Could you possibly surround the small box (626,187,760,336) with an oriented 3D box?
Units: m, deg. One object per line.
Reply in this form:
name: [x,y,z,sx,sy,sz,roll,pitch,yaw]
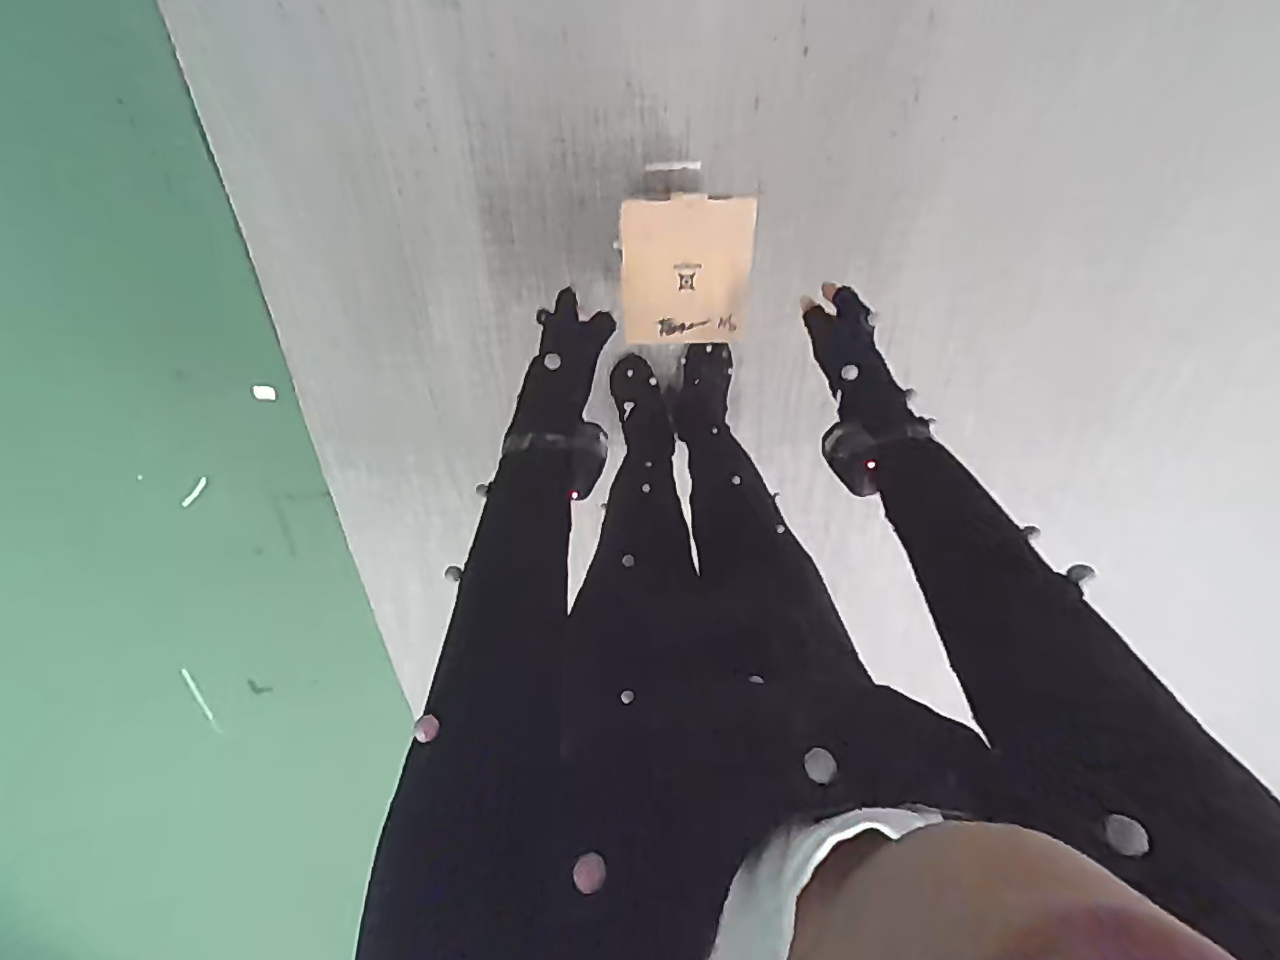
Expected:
small box: [0.064,-0.307,0.756,0.168,0.176,0.179,-1,118,1]
